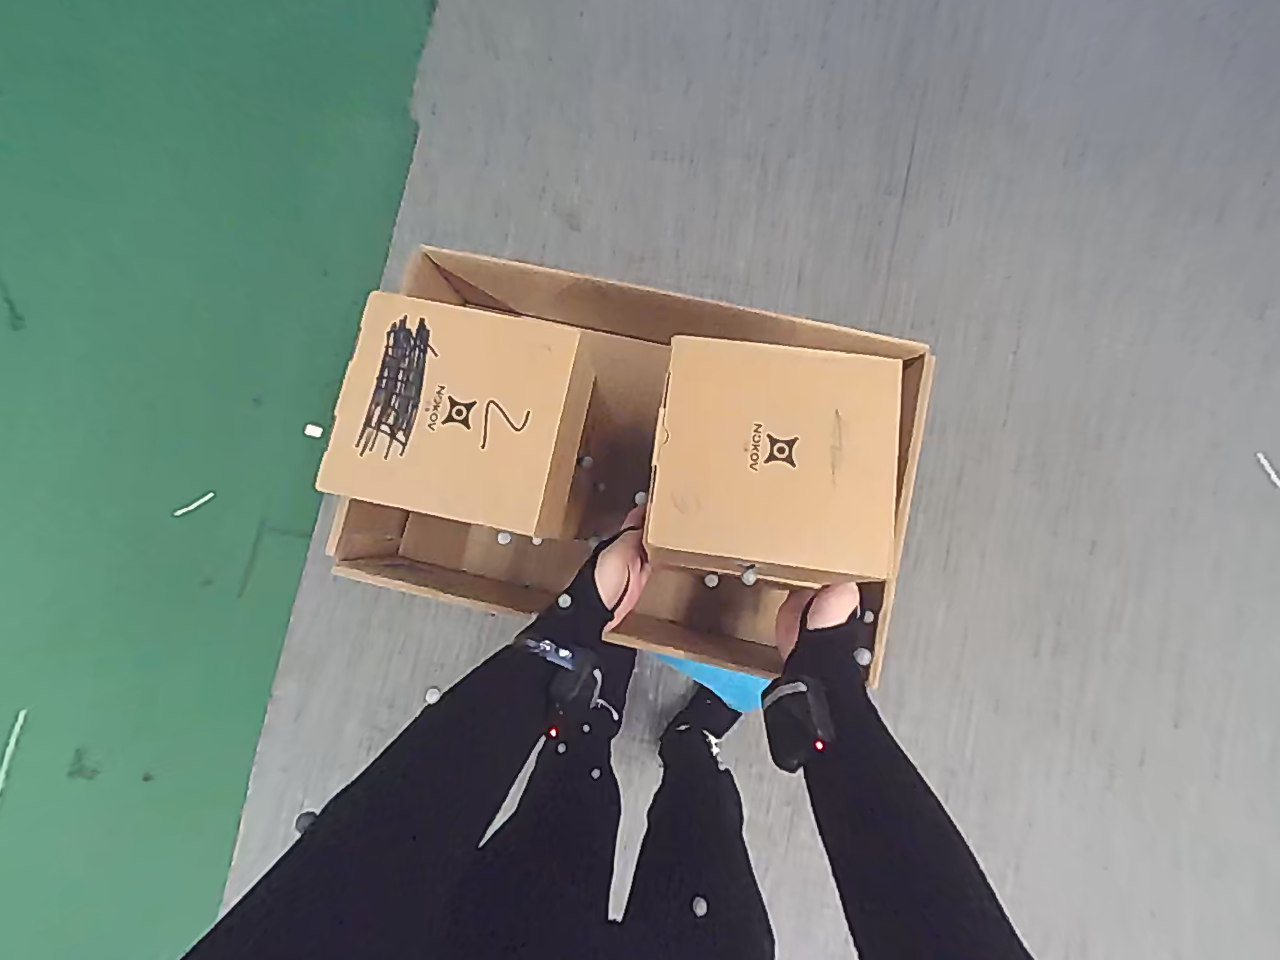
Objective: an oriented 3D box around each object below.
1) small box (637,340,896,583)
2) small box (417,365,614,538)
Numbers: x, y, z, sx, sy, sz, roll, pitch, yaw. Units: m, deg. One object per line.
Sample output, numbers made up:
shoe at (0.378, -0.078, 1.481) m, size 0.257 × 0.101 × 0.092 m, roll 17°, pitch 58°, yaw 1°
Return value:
small box at (0.100, -0.003, 0.475) m, size 0.179 × 0.176 × 0.168 m, roll 8°, pitch 79°, yaw 5°
small box at (-0.138, -0.023, 0.666) m, size 0.179 × 0.176 × 0.168 m, roll 11°, pitch 84°, yaw 3°
